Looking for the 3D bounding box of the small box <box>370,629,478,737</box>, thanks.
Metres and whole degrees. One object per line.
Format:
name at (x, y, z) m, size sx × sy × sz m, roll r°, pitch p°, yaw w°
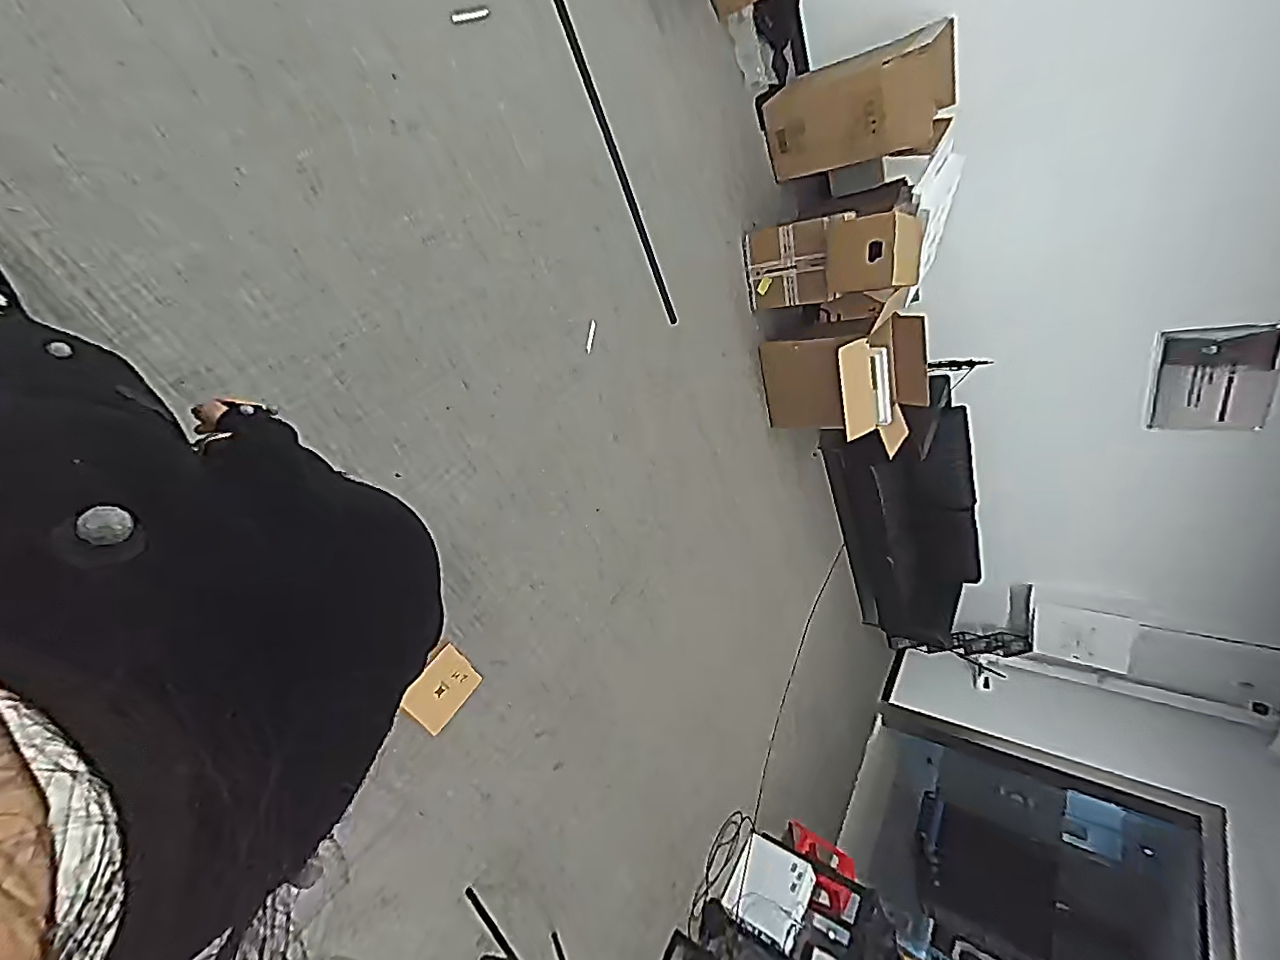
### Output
small box at (-0.565, 0.516, 1.397) m, size 0.179 × 0.176 × 0.168 m, roll -50°, pitch 131°, yaw -35°
